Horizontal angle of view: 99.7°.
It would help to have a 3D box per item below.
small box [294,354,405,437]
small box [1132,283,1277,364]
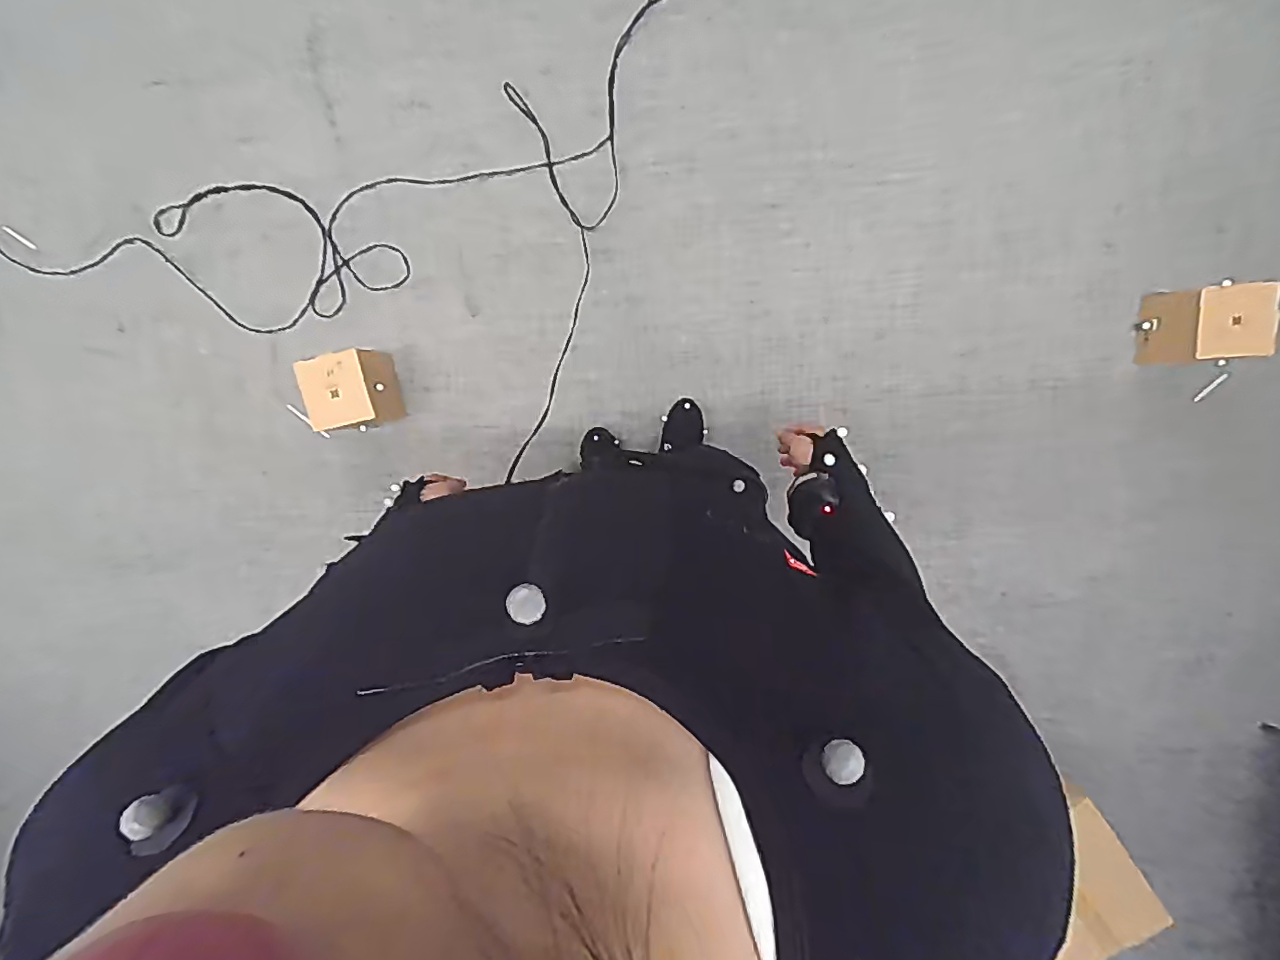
[{"bbox_3d":[-0.734,-0.216,1.388,0.168,0.176,0.179,-13,97,4],"label":"small box"},{"bbox_3d":[1.368,-0.377,1.322,0.179,0.176,0.168,-4,98,3],"label":"small box"}]
